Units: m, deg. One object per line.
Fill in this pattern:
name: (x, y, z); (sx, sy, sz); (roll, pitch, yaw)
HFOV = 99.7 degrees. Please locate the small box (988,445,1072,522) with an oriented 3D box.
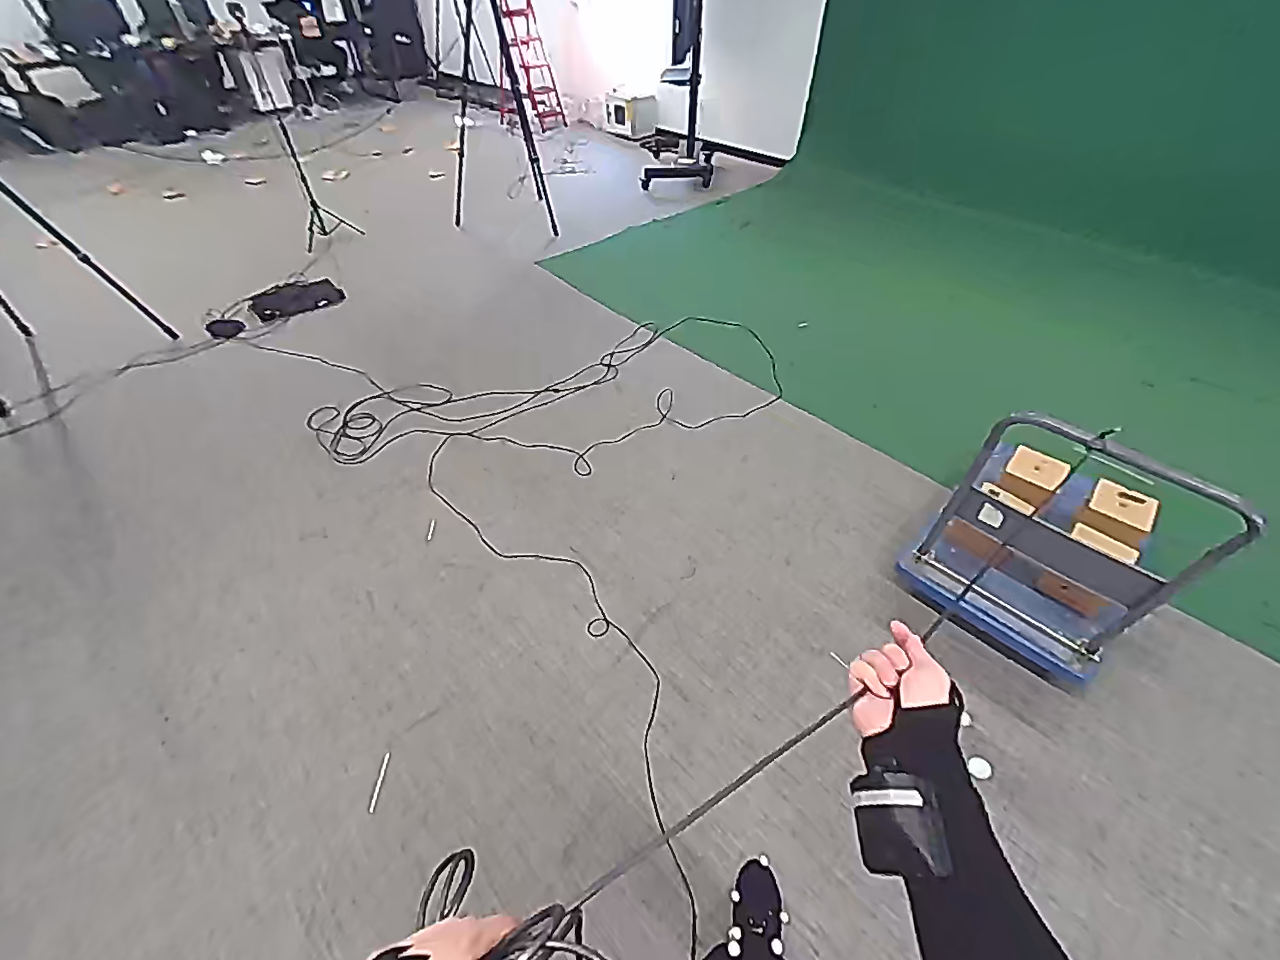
small box: (1.354, 0.016, 1.886); (0.168, 0.176, 0.179); (32, 54, 27)

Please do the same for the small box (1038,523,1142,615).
small box: (1.354, 0.270, 1.637); (0.179, 0.176, 0.168); (-35, 55, -28)

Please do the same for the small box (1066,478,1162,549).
small box: (1.545, 0.132, 1.769); (0.168, 0.176, 0.179); (31, 55, 28)
